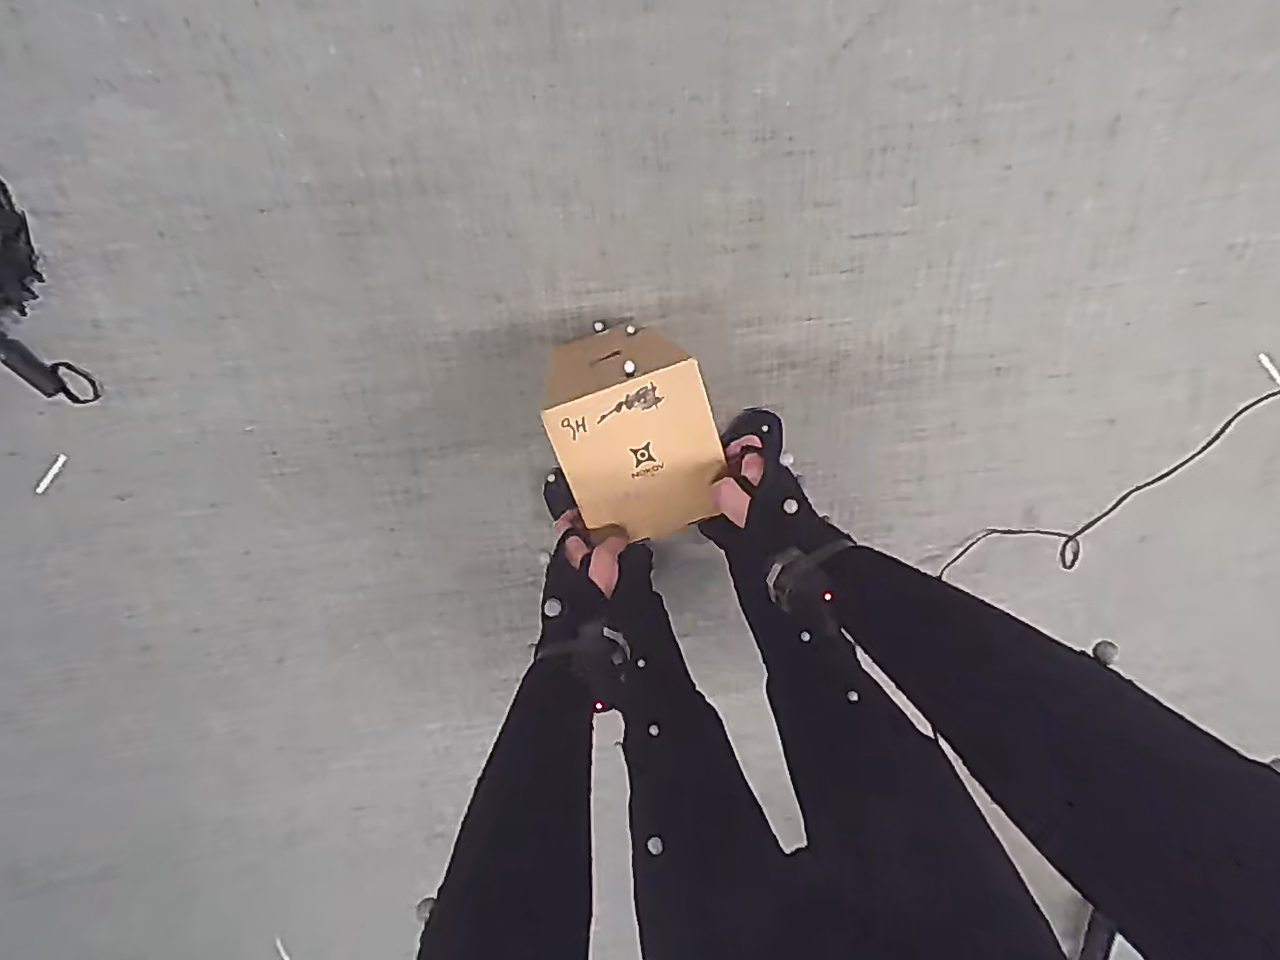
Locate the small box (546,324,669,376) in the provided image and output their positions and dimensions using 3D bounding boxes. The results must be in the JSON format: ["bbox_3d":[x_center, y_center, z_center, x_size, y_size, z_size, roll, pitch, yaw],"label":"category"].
[{"bbox_3d":[-0.026,-0.115,0.781,0.168,0.176,0.179,-19,114,3],"label":"small box"}]

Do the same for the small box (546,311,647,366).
[{"bbox_3d":[-0.047,-0.178,0.932,0.168,0.176,0.179,-21,111,3],"label":"small box"}]

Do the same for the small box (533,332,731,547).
[{"bbox_3d":[-0.009,-0.055,0.630,0.168,0.176,0.179,-19,113,2],"label":"small box"}]
